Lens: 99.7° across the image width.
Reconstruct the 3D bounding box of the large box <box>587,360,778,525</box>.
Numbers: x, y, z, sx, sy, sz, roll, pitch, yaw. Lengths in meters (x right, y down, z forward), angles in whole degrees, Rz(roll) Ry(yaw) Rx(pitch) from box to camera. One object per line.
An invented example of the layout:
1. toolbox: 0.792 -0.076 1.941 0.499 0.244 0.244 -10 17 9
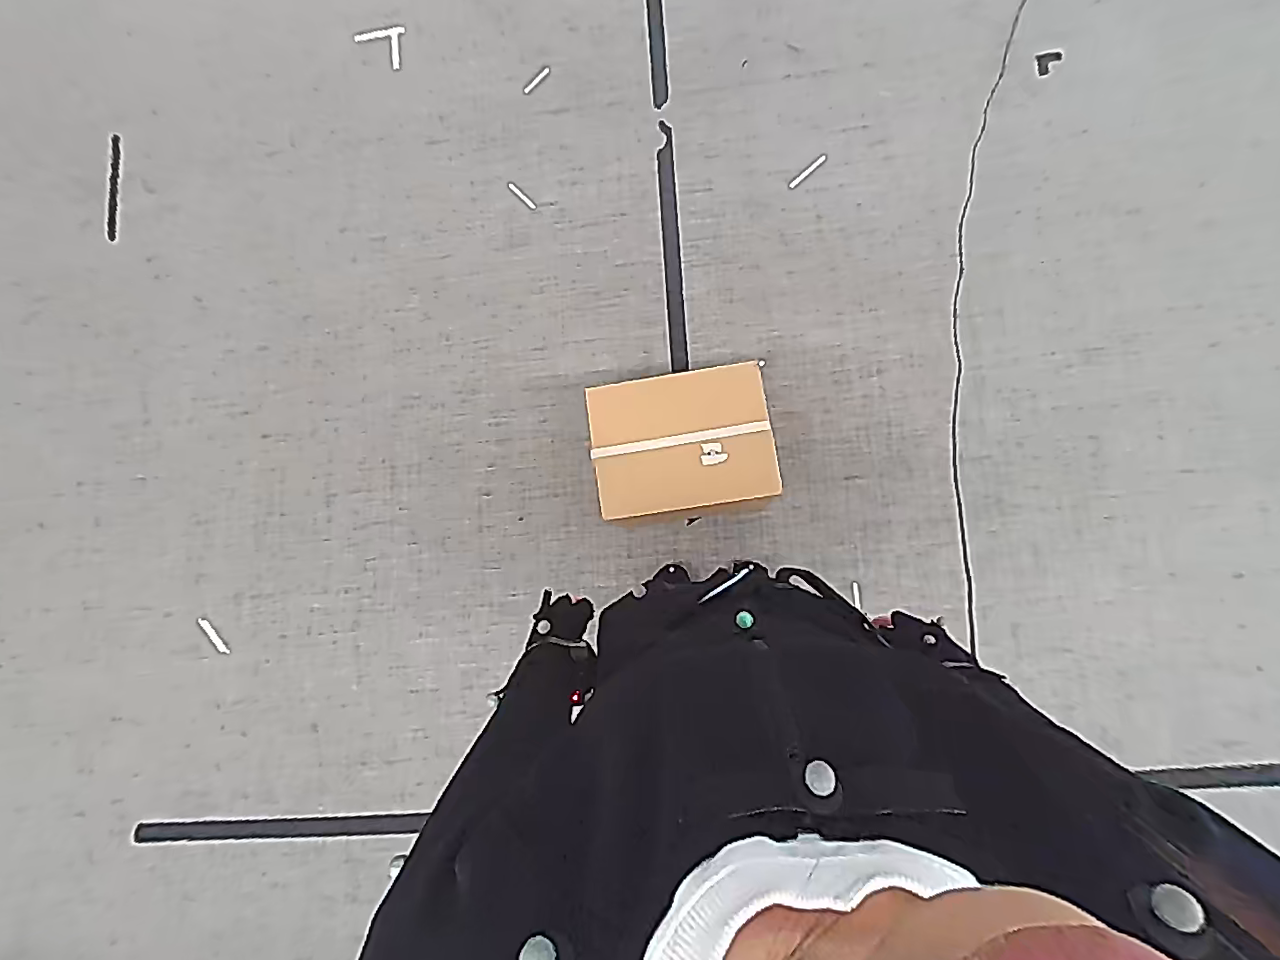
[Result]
1. large box: 0.103 -0.074 1.381 0.408 0.320 0.320 -9 81 4
